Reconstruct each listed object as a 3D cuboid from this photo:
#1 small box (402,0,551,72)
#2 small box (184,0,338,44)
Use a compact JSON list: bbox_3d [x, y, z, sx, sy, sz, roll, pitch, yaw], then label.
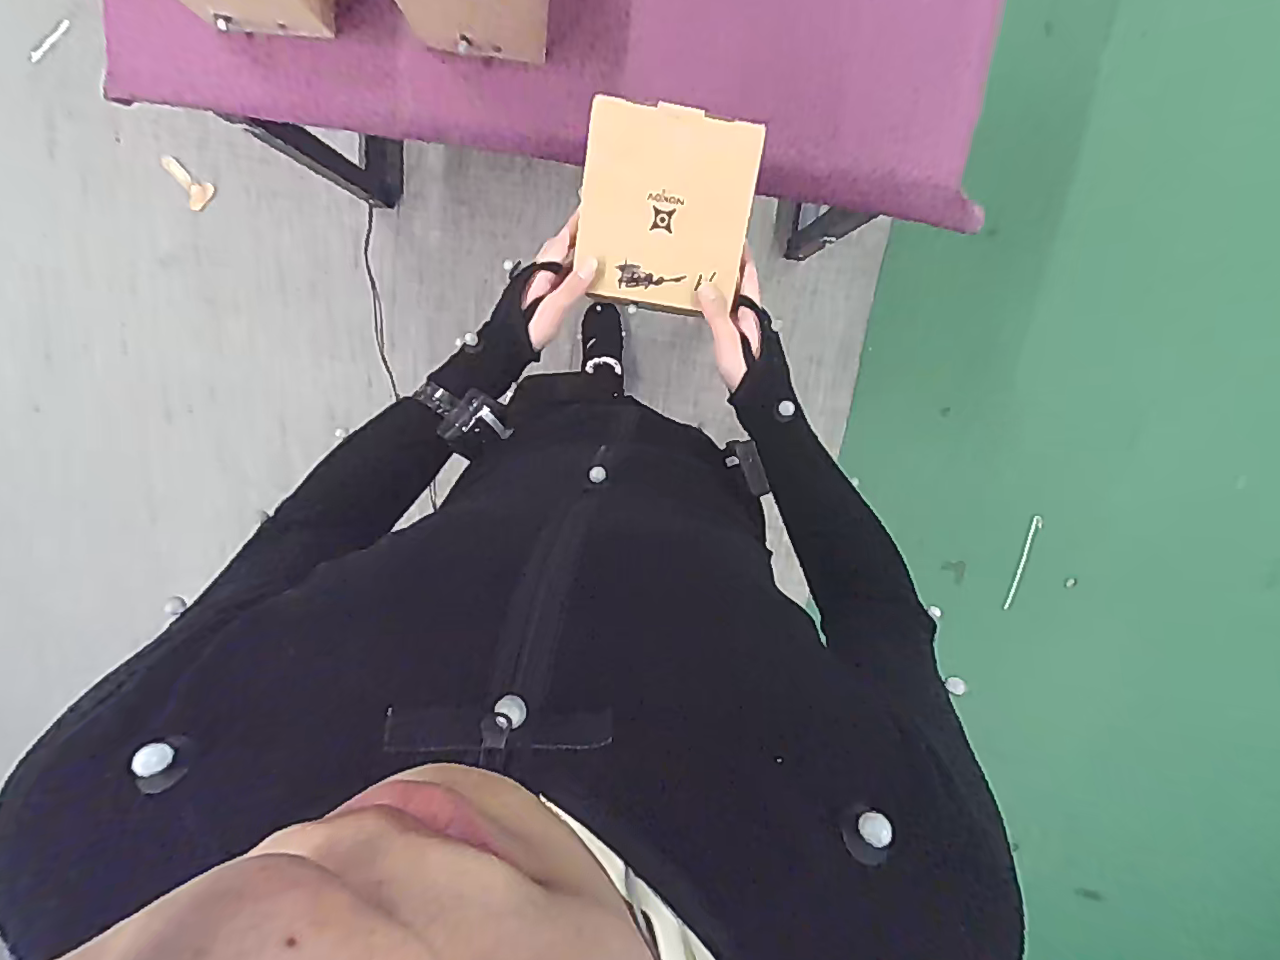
[{"bbox_3d":[-0.203,-0.651,0.664,0.168,0.176,0.179,7,103,-1],"label":"small box"},{"bbox_3d":[-0.490,-0.674,0.653,0.168,0.176,0.179,4,100,-1],"label":"small box"}]
